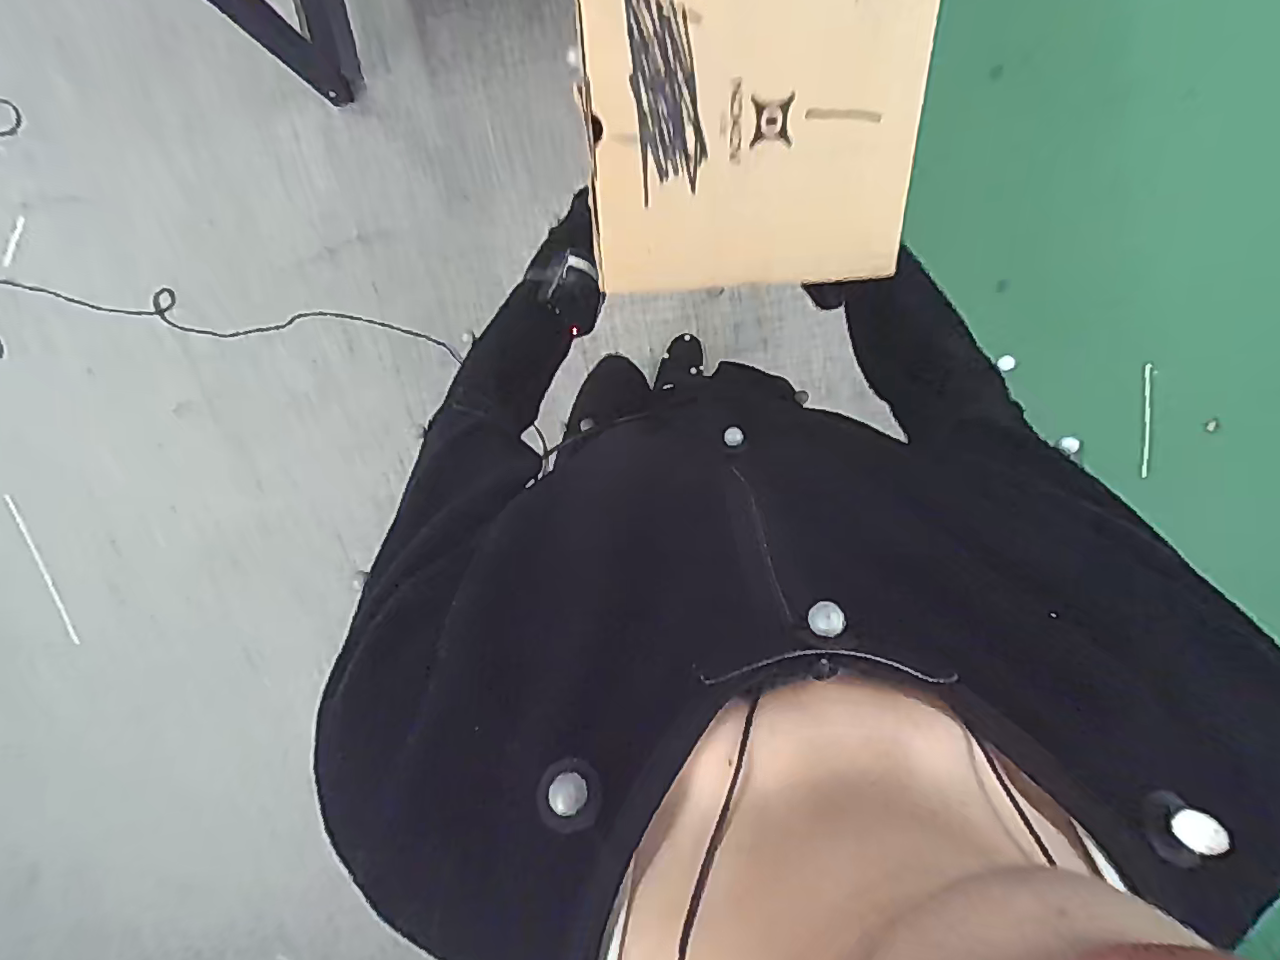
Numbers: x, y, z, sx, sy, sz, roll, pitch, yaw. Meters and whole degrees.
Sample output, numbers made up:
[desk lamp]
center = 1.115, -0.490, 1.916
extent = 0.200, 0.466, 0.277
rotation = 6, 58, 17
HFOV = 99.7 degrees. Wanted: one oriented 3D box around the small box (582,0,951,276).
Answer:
[small box]
center = 0.059, -0.229, 0.341
extent = 0.179, 0.176, 0.168
rotation = -4, 119, -1
